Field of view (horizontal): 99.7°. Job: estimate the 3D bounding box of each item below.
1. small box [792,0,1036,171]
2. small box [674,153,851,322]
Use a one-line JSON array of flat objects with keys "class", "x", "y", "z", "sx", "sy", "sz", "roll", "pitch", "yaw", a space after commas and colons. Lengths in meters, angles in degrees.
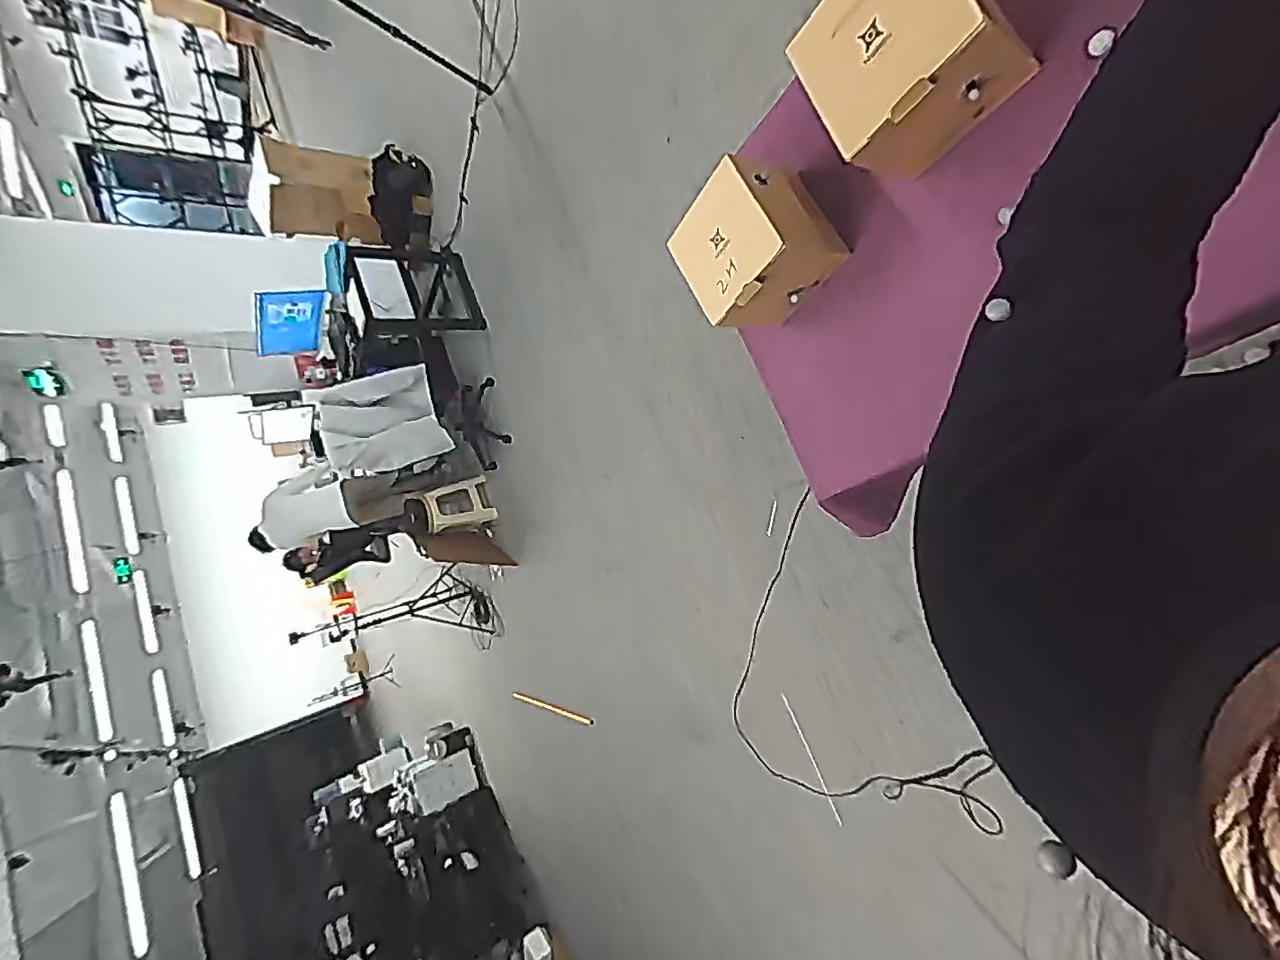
[{"class": "small box", "x": 0.323, "y": -0.499, "z": 0.640, "sx": 0.168, "sy": 0.176, "sz": 0.179, "roll": -35, "pitch": 72, "yaw": 50}, {"class": "small box", "x": 0.190, "y": -0.367, "z": 0.851, "sx": 0.168, "sy": 0.176, "sz": 0.179, "roll": -44, "pitch": 66, "yaw": 49}]
